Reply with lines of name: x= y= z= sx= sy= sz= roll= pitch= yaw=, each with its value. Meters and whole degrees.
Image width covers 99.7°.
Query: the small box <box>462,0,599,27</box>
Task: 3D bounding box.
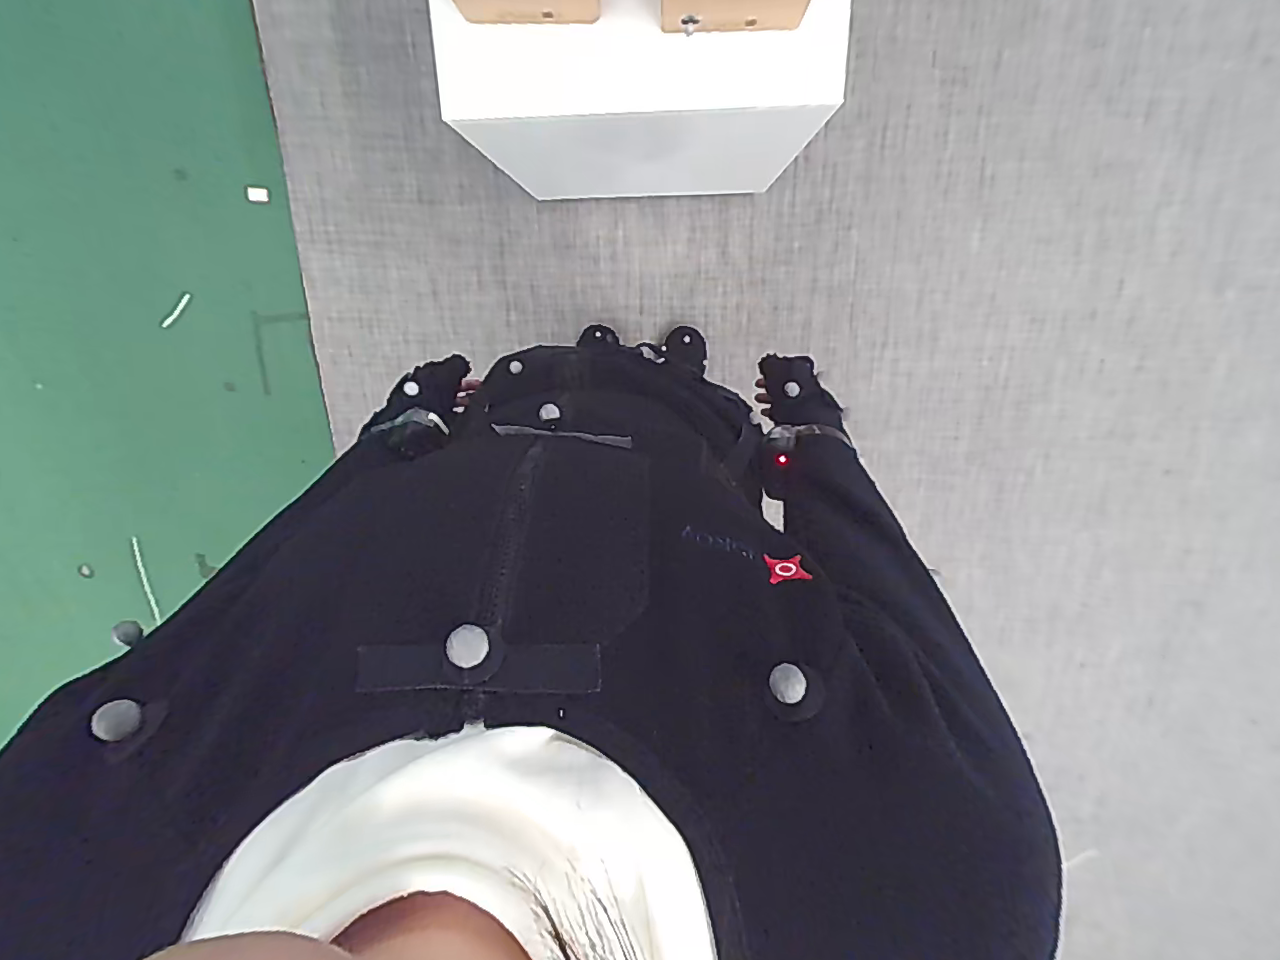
small box: x=-0.132 y=-0.618 z=0.560 sx=0.168 sy=0.176 sz=0.179 roll=2 pitch=106 yaw=3

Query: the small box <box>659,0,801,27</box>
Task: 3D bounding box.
small box: x=0.100 y=-0.603 z=0.553 sx=0.168 sy=0.176 sz=0.179 roll=1 pitch=106 yaw=3
